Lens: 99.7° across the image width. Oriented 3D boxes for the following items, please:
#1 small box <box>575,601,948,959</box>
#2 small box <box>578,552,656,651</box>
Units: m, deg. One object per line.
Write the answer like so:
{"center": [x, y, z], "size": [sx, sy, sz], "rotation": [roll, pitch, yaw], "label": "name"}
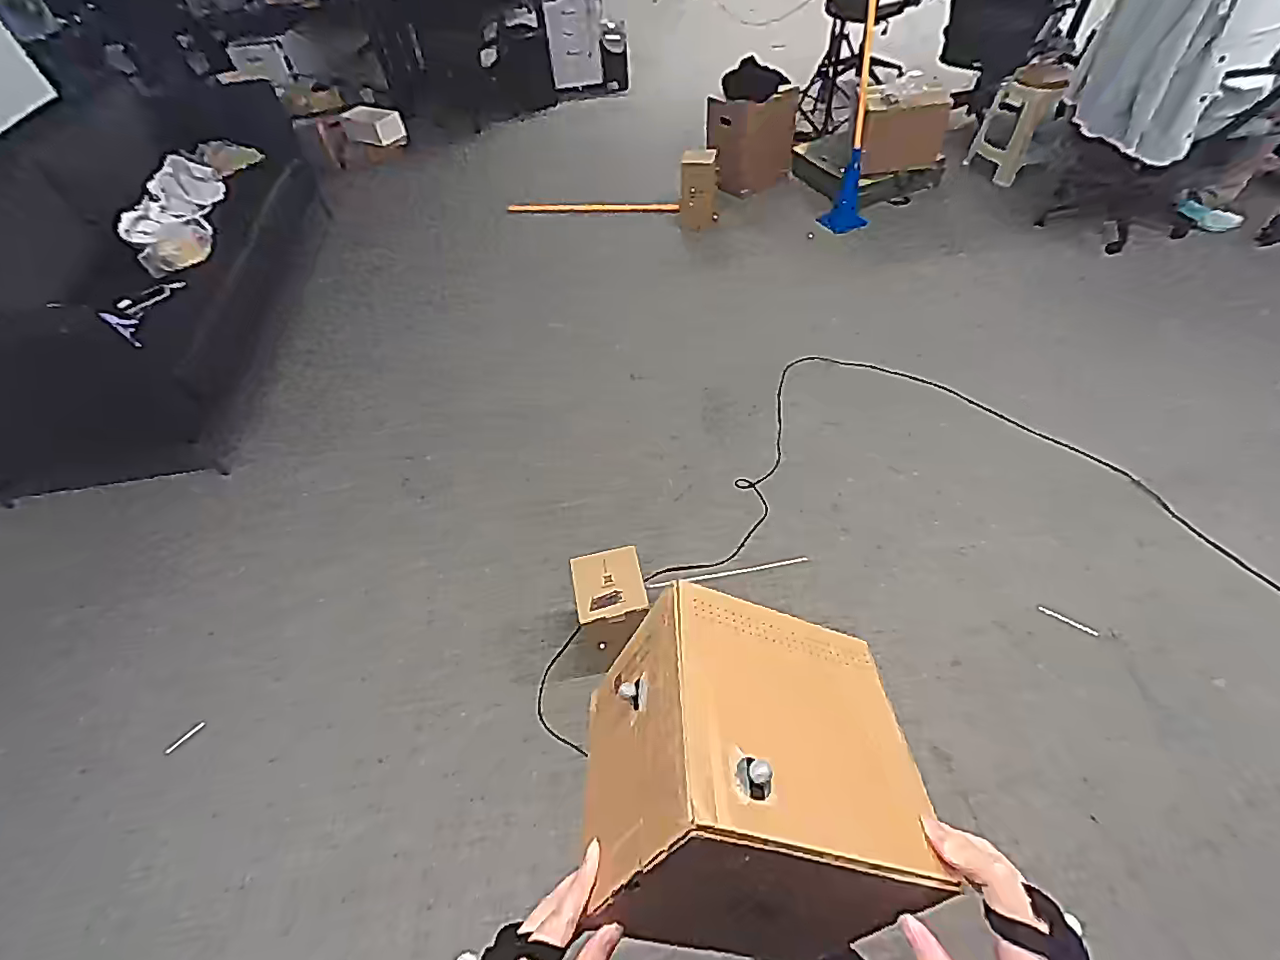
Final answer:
{"center": [0.070, 0.216, 0.398], "size": [0.179, 0.168, 0.176], "rotation": [21, 33, -11], "label": "small box"}
{"center": [-0.051, 0.313, 1.358], "size": [0.168, 0.176, 0.179], "rotation": [-13, 50, -3], "label": "small box"}
